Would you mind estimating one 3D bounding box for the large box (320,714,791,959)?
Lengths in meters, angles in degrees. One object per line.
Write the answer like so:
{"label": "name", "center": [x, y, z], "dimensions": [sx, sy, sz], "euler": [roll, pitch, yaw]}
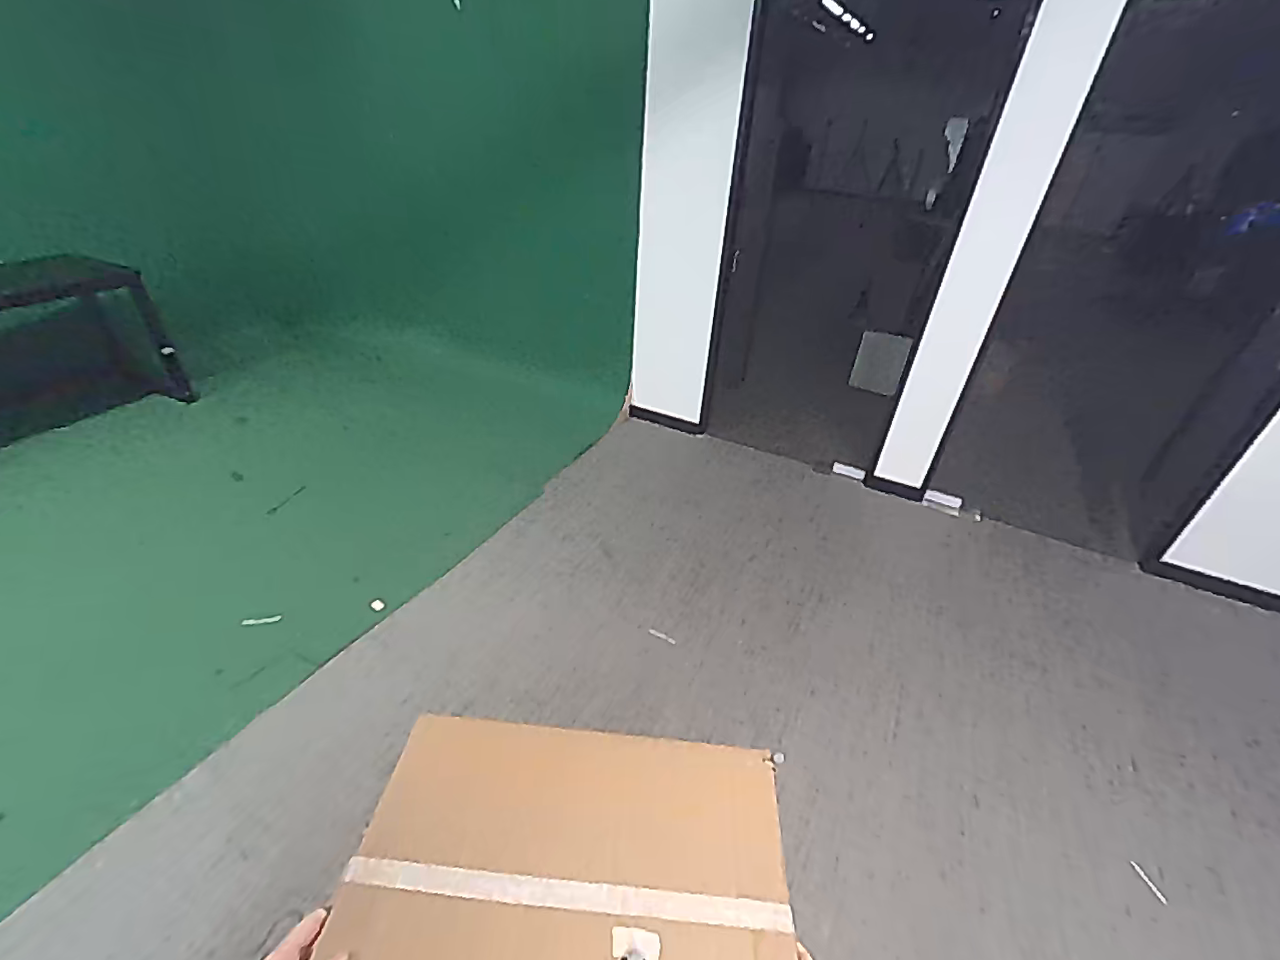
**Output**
{"label": "large box", "center": [-0.075, 0.498, 0.586], "dimensions": [0.408, 0.320, 0.320], "euler": [6, 35, 2]}
